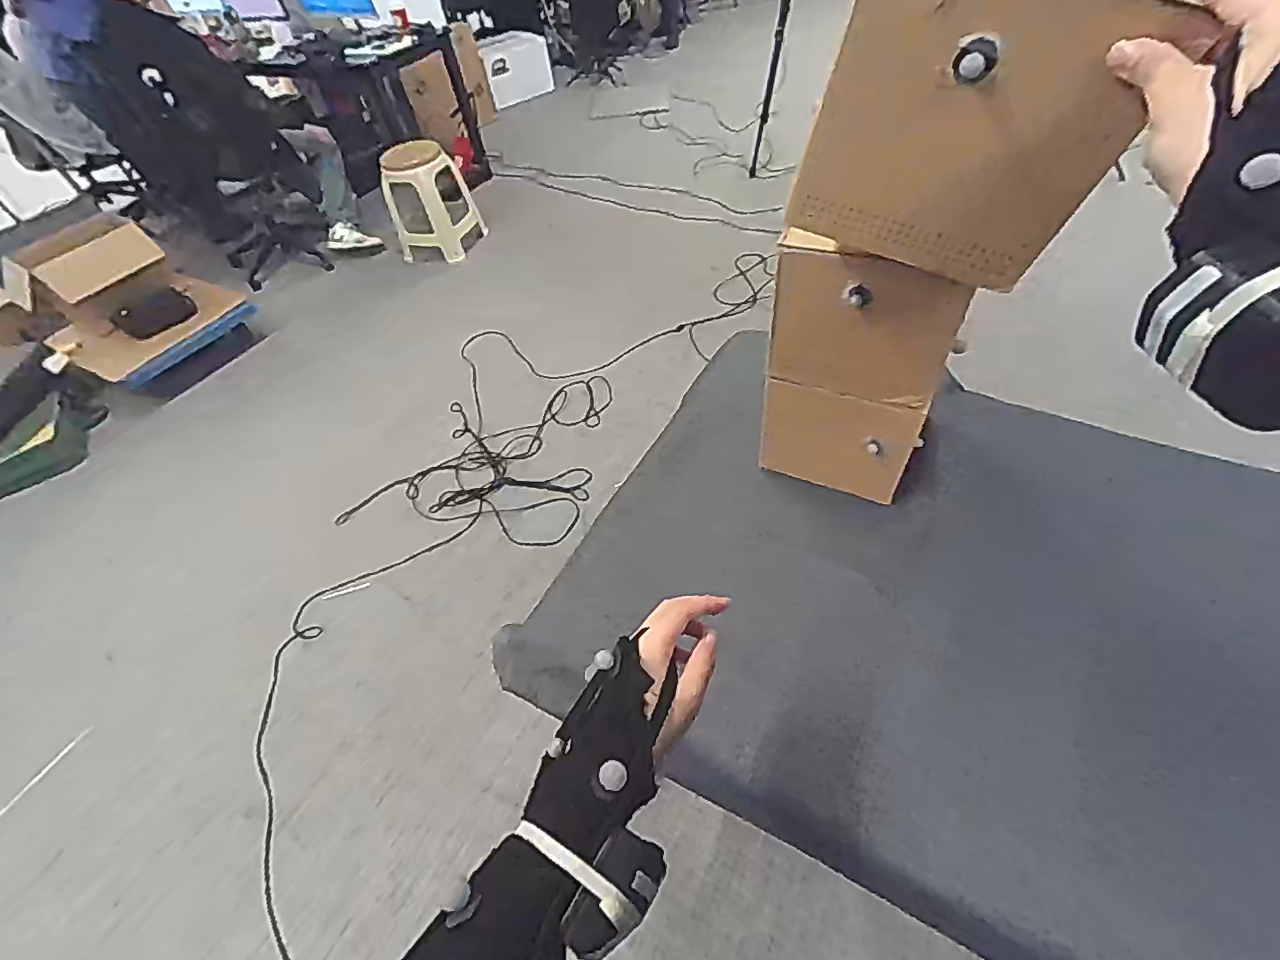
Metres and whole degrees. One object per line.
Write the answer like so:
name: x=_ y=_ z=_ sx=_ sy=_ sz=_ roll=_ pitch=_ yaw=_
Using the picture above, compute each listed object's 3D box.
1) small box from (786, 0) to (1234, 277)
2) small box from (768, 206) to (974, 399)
small box: x=0.222 y=-0.272 z=0.372 sx=0.179 sy=0.176 sz=0.168 roll=24 pitch=60 yaw=6
small box: x=0.244 y=-0.210 z=0.571 sx=0.179 sy=0.176 sz=0.168 roll=19 pitch=59 yaw=20
